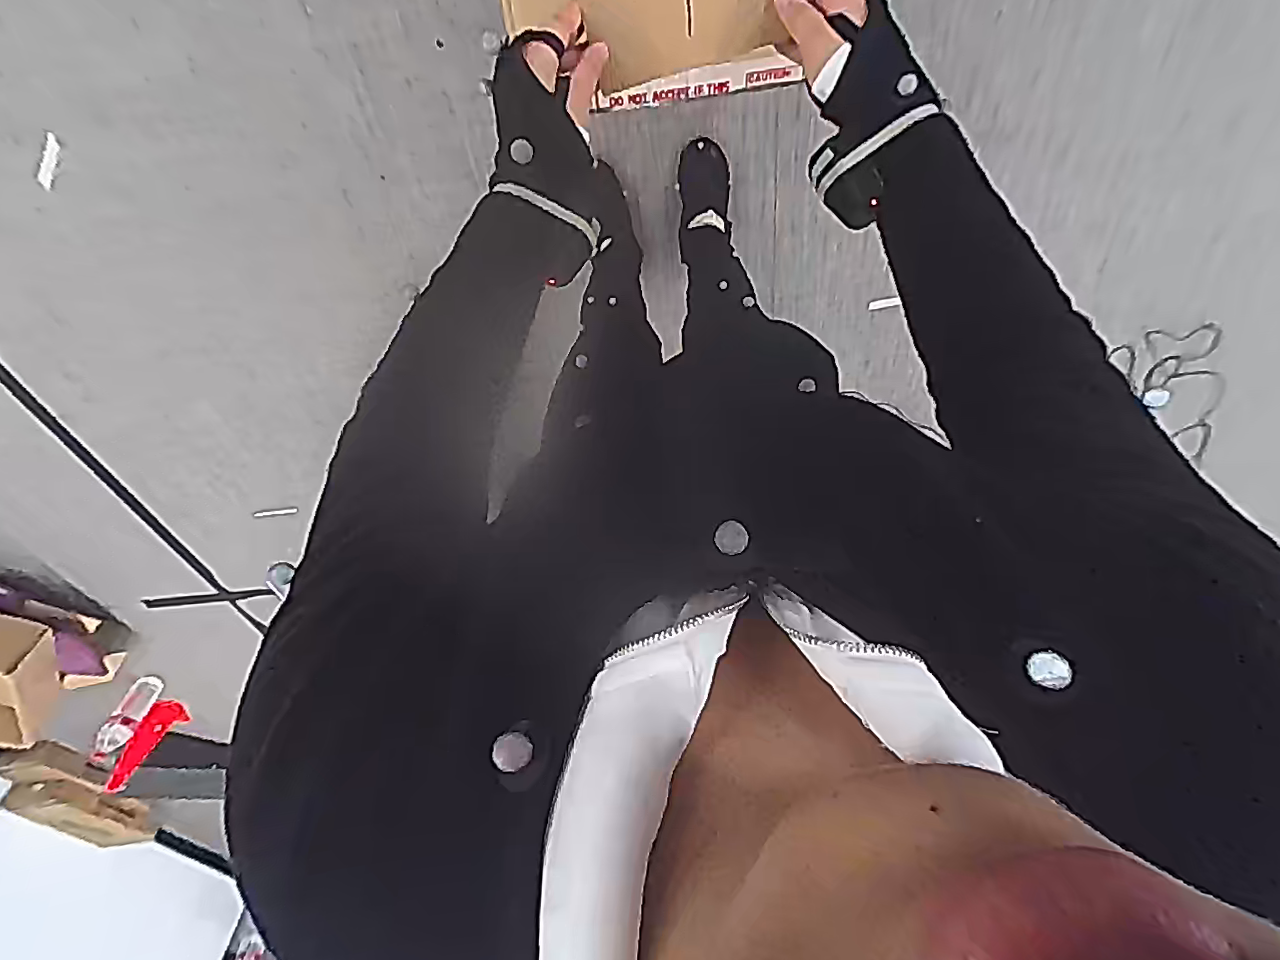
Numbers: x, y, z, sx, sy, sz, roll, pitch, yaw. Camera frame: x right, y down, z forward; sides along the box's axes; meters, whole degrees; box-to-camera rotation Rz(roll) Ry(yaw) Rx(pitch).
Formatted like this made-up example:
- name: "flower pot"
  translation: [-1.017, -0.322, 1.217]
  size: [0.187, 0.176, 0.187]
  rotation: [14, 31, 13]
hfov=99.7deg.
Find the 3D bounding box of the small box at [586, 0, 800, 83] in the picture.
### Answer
- name: "small box"
  translation: [0.028, -0.465, 0.441]
  size: [0.168, 0.176, 0.179]
  rotation: [-10, 136, 10]
